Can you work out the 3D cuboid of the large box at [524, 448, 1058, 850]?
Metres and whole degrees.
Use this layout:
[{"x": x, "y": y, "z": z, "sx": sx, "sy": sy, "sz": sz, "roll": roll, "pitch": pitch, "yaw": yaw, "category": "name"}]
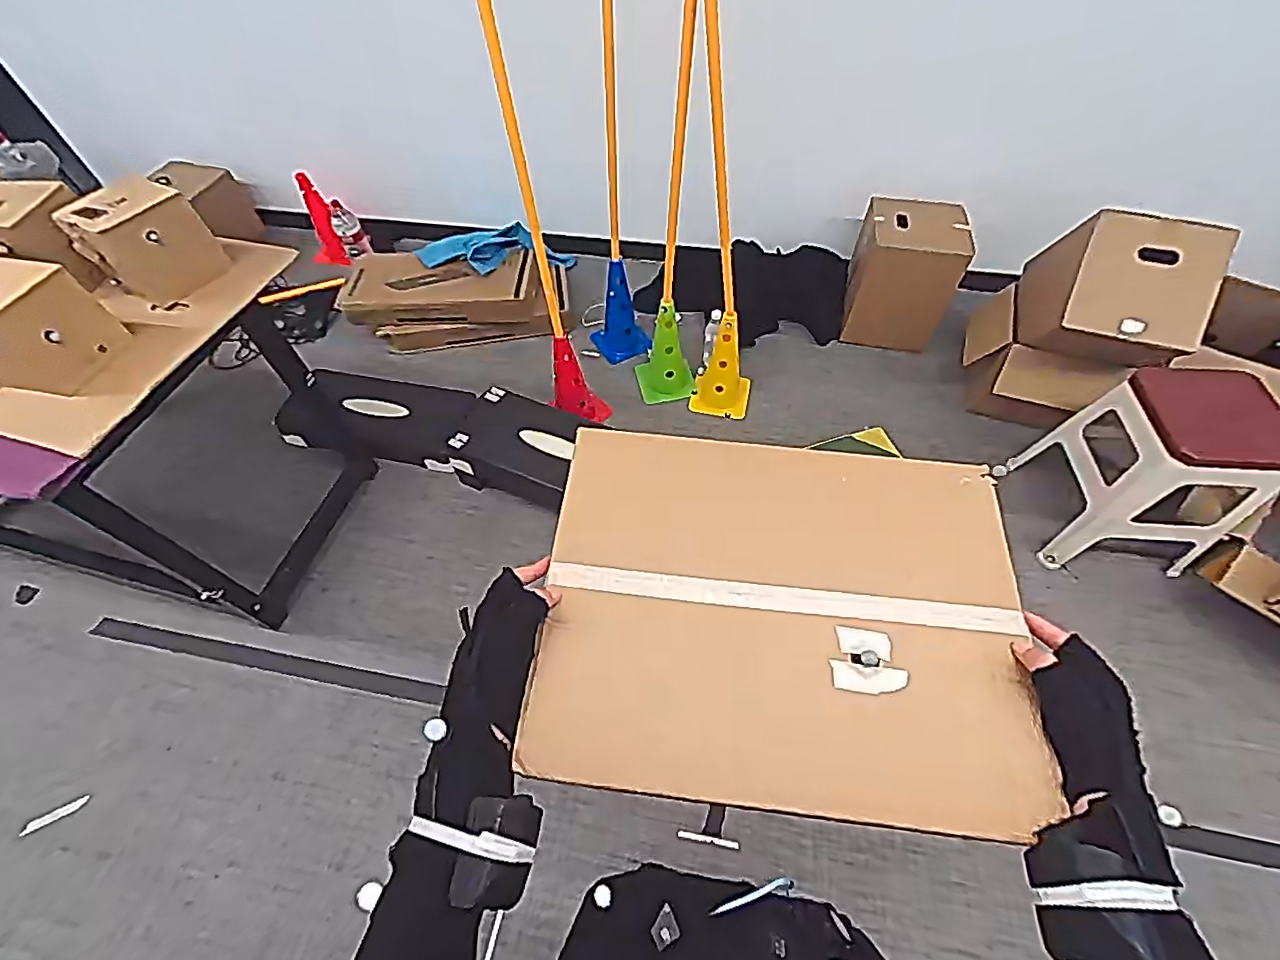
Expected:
[{"x": 0.120, "y": 0.189, "z": 0.600, "sx": 0.408, "sy": 0.320, "sz": 0.320, "roll": 6, "pitch": 62, "yaw": 3, "category": "large box"}]
